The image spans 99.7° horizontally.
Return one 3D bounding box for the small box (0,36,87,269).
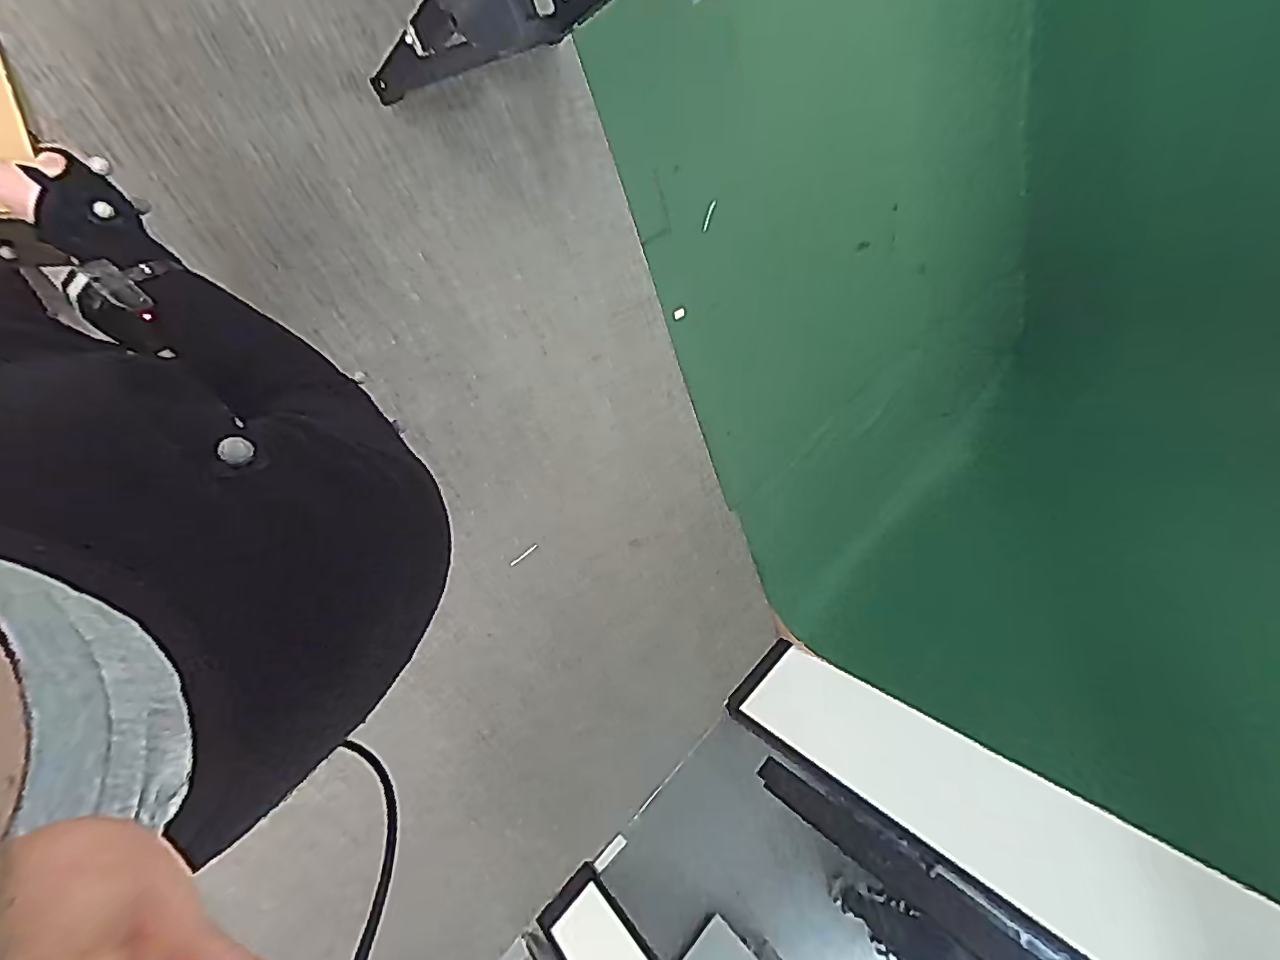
[{"bbox_3d":[-0.646,-0.298,0.486,0.168,0.176,0.179,-19,102,-37],"label":"small box"}]
